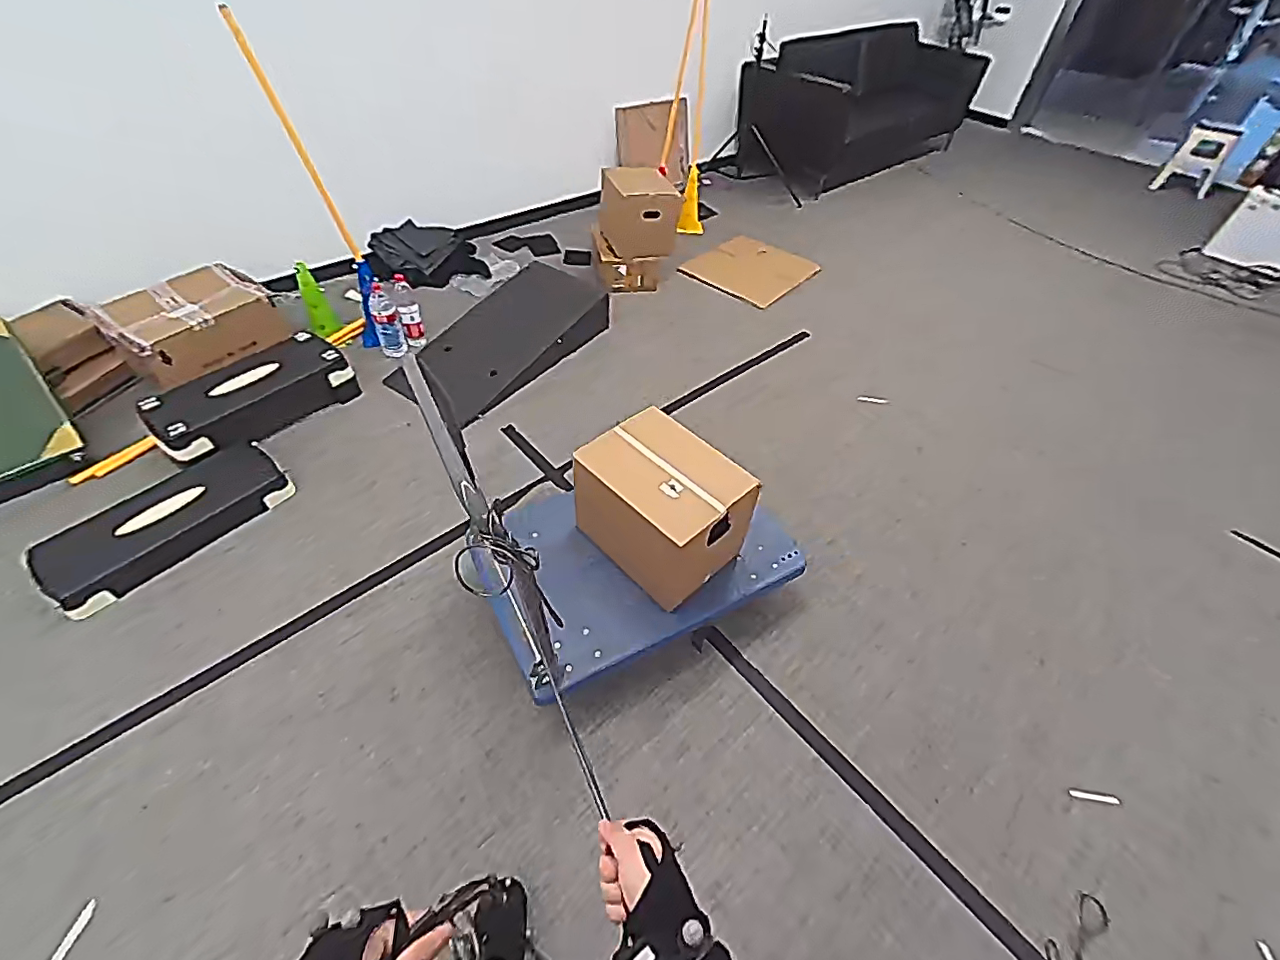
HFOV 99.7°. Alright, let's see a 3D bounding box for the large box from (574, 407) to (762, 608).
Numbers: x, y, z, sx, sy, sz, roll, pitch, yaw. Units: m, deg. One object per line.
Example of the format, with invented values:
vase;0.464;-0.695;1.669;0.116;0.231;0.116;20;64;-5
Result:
large box;0.059;0.070;1.512;0.320;0.320;0.408;-35;59;-29
